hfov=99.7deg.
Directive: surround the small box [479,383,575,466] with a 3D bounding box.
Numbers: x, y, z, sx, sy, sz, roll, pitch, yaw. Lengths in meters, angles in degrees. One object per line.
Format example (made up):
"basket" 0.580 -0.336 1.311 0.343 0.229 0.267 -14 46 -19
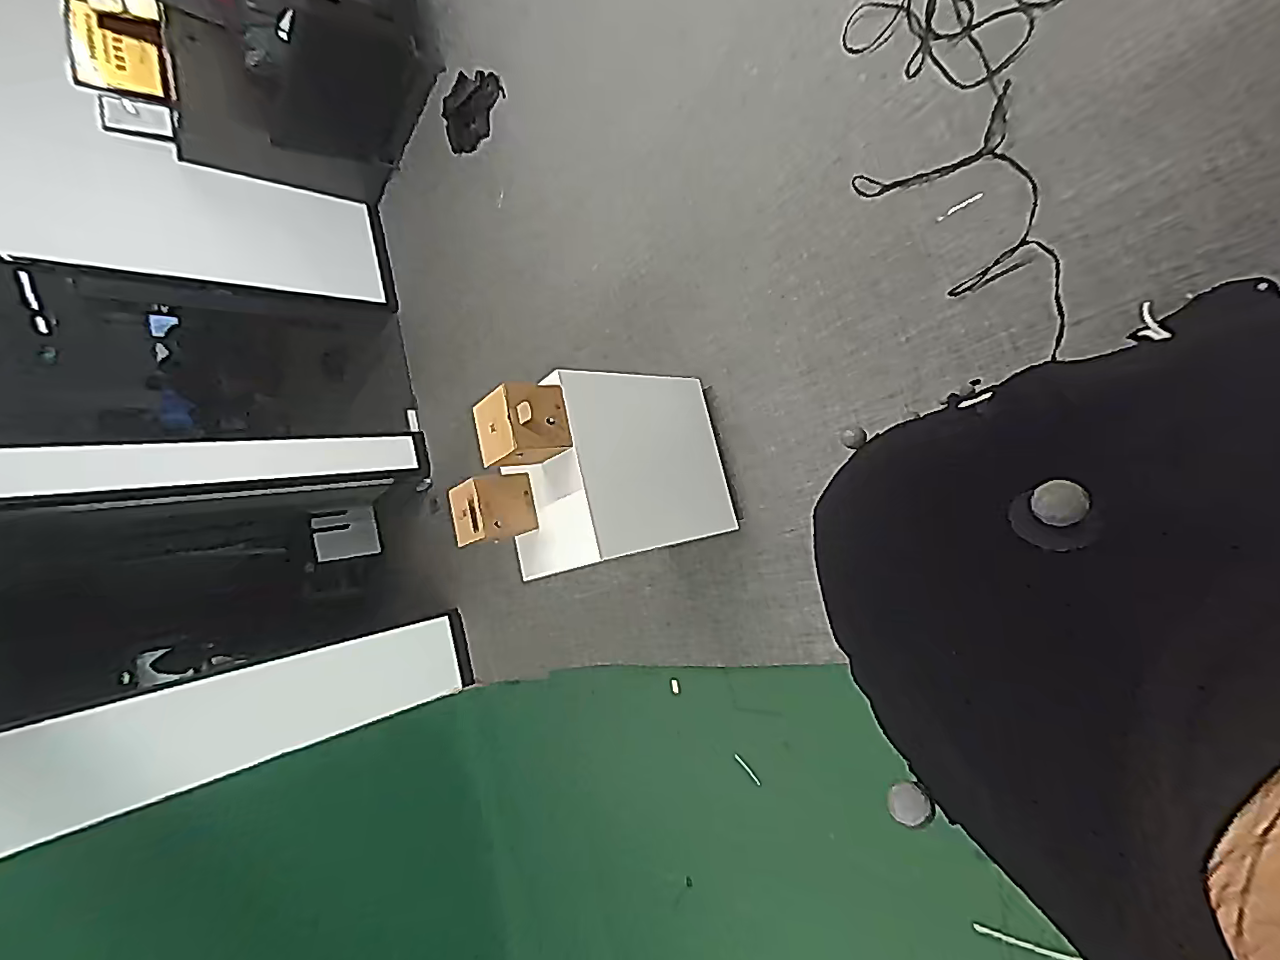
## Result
"small box" -0.288 -0.137 1.381 0.179 0.176 0.168 -21 79 47
